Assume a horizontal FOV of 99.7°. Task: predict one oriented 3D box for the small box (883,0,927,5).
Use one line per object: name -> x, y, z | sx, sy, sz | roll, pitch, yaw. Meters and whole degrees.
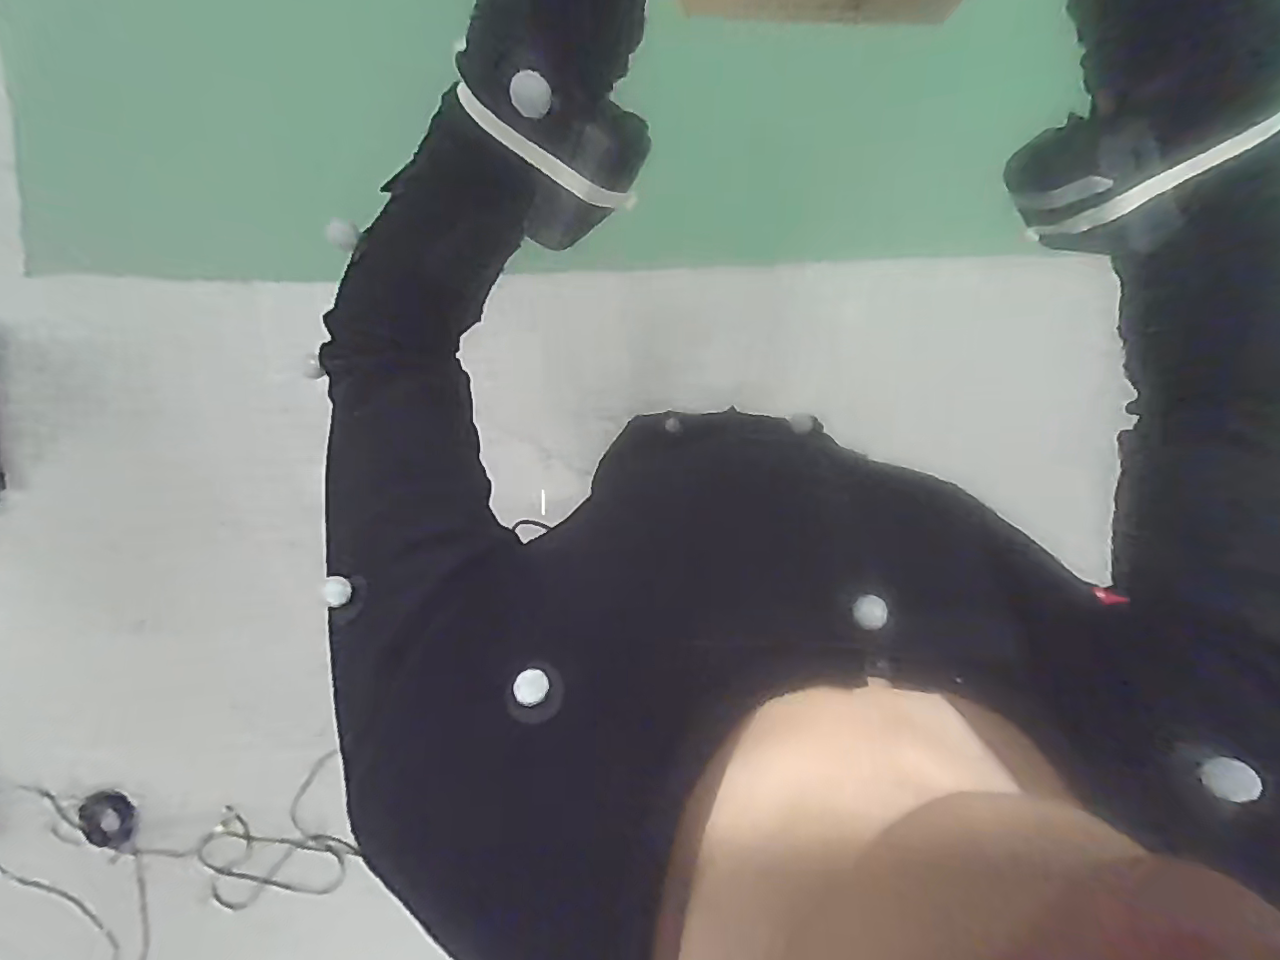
small box -> 0.109, -0.360, 0.239 | 0.168, 0.176, 0.179 | 4, 102, 1
